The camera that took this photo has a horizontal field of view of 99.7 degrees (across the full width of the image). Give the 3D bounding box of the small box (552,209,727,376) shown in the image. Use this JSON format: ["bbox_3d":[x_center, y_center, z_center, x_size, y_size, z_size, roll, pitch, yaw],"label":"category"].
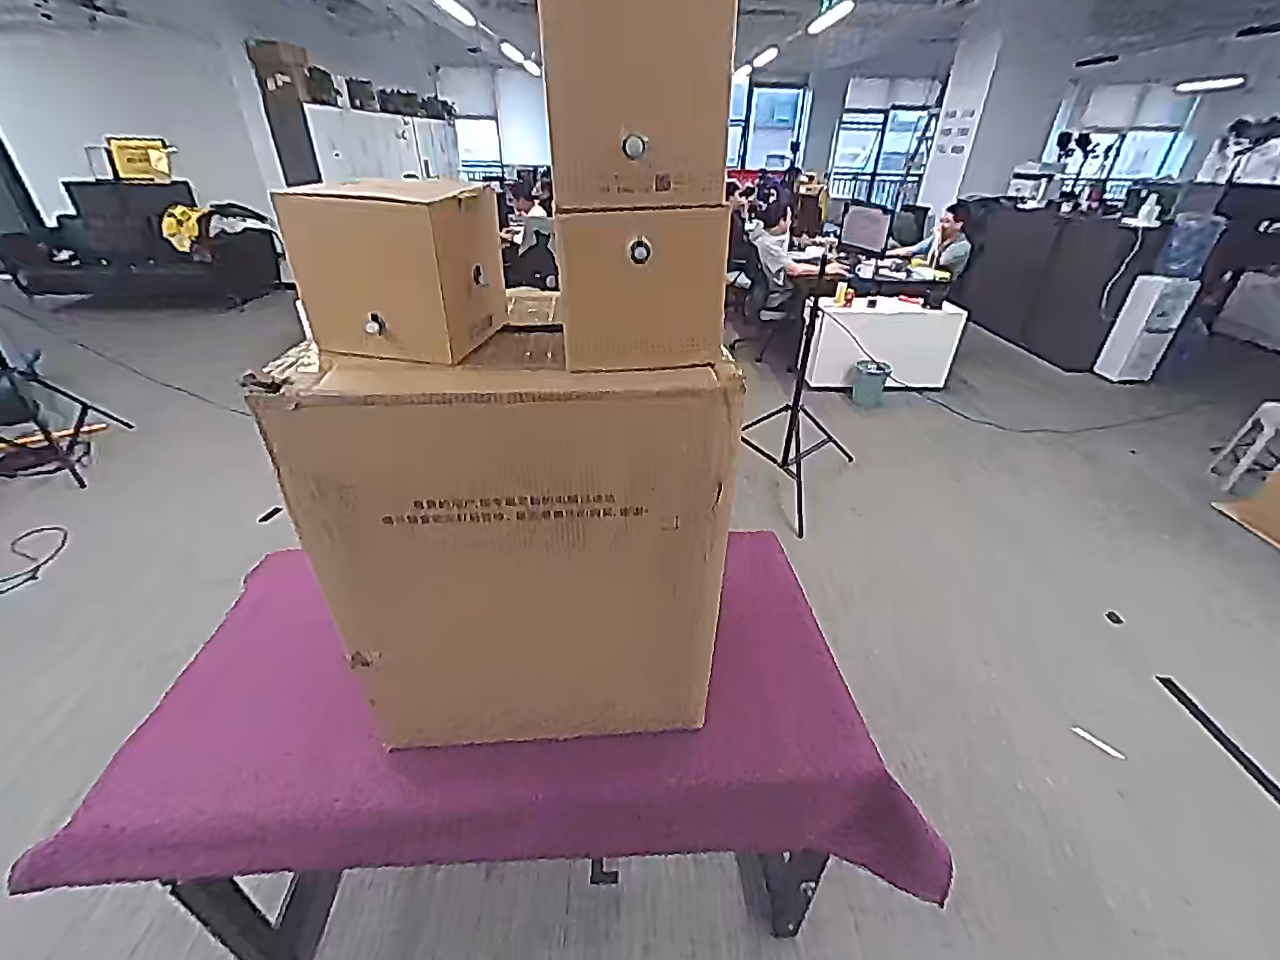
[{"bbox_3d":[-0.005,-0.227,0.633,0.179,0.176,0.168,-4,33,-5],"label":"small box"}]

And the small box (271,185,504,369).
[{"bbox_3d":[-0.275,-0.242,0.641,0.179,0.176,0.168,8,34,8],"label":"small box"}]

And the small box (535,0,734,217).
[{"bbox_3d":[-0.010,-0.368,0.548,0.168,0.176,0.179,-4,33,-4],"label":"small box"}]
